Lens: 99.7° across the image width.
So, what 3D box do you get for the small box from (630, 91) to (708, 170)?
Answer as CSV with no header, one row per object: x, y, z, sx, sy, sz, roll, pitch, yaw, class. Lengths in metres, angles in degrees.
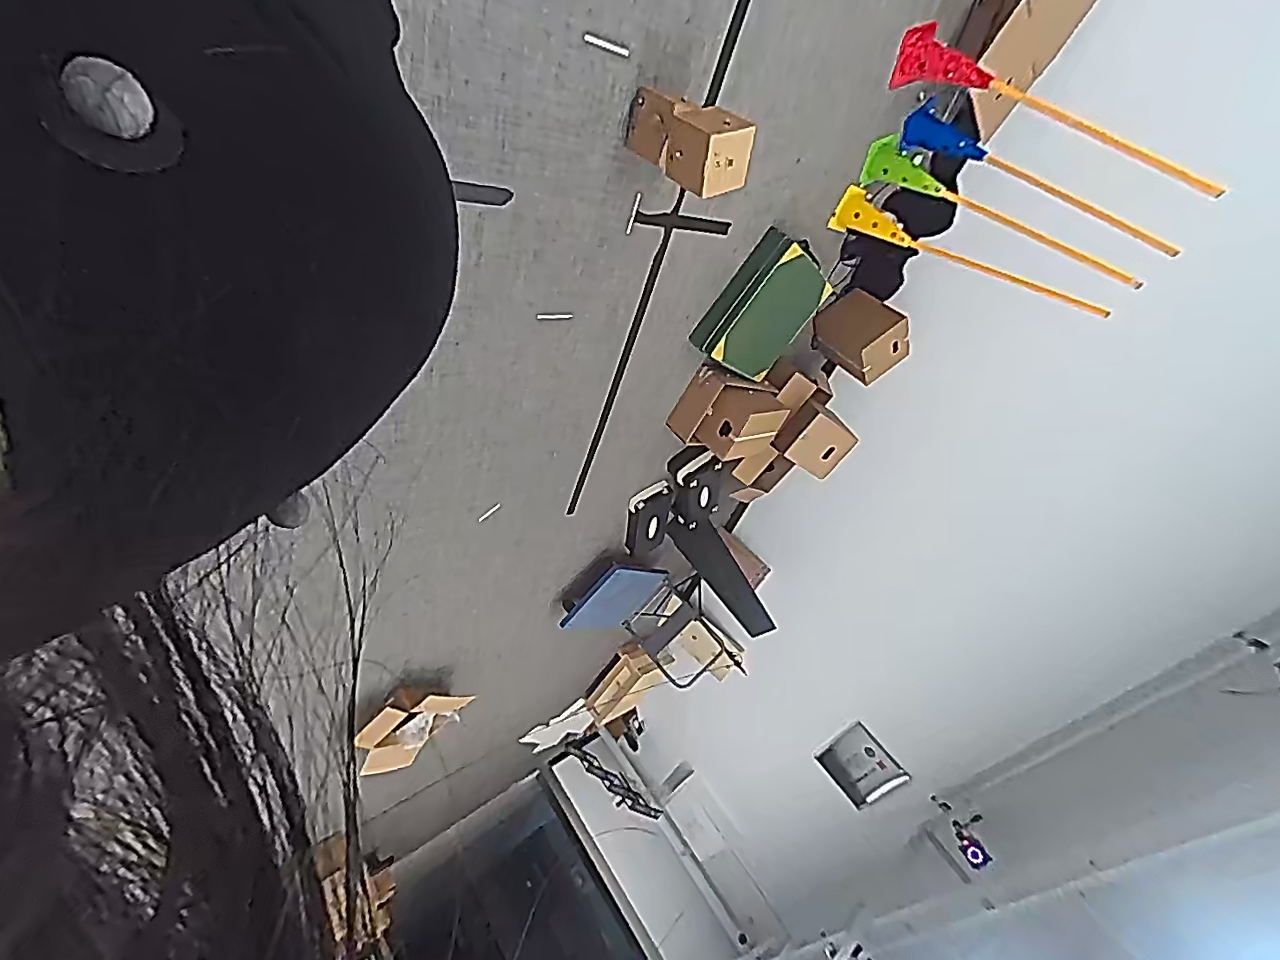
0.096,-1.042,1.625,0.179,0.176,0.168,-19,145,-39,small box

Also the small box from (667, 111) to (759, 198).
0.204,-0.940,1.554,0.179,0.176,0.168,-25,147,-26,small box
